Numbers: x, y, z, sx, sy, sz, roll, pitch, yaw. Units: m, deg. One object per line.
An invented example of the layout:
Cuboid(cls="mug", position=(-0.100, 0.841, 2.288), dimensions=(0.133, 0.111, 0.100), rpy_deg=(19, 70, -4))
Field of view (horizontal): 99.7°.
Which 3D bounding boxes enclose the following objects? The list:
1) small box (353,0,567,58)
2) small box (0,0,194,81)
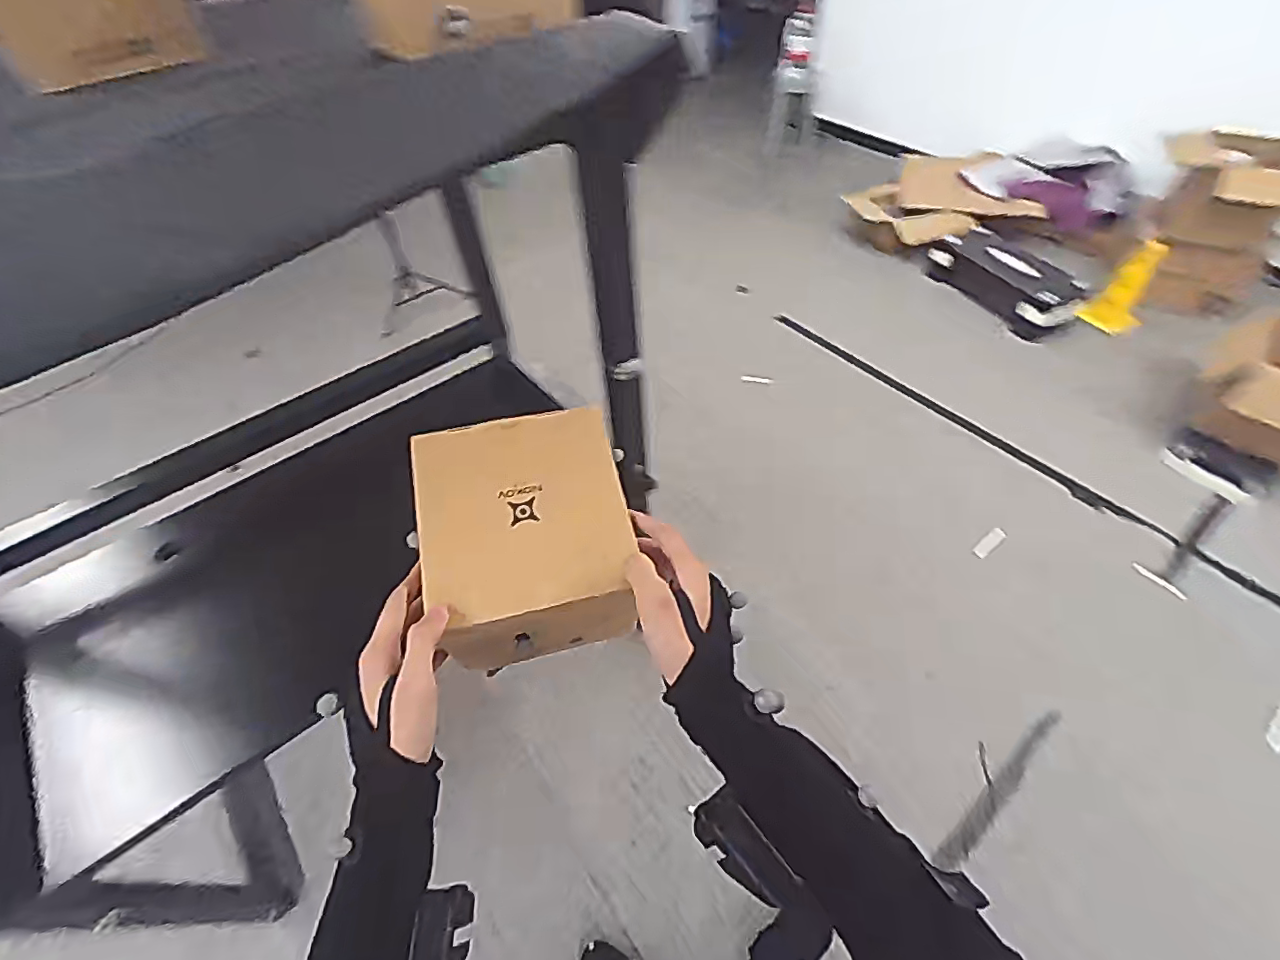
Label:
Cuboid(cls="small box", position=(-0.187, -0.517, 0.500), dimensions=(0.168, 0.176, 0.179), rpy_deg=(-32, 53, -20))
Cuboid(cls="small box", position=(-0.596, -0.522, 0.534), dimensions=(0.168, 0.176, 0.179), rpy_deg=(-35, 58, -22))
